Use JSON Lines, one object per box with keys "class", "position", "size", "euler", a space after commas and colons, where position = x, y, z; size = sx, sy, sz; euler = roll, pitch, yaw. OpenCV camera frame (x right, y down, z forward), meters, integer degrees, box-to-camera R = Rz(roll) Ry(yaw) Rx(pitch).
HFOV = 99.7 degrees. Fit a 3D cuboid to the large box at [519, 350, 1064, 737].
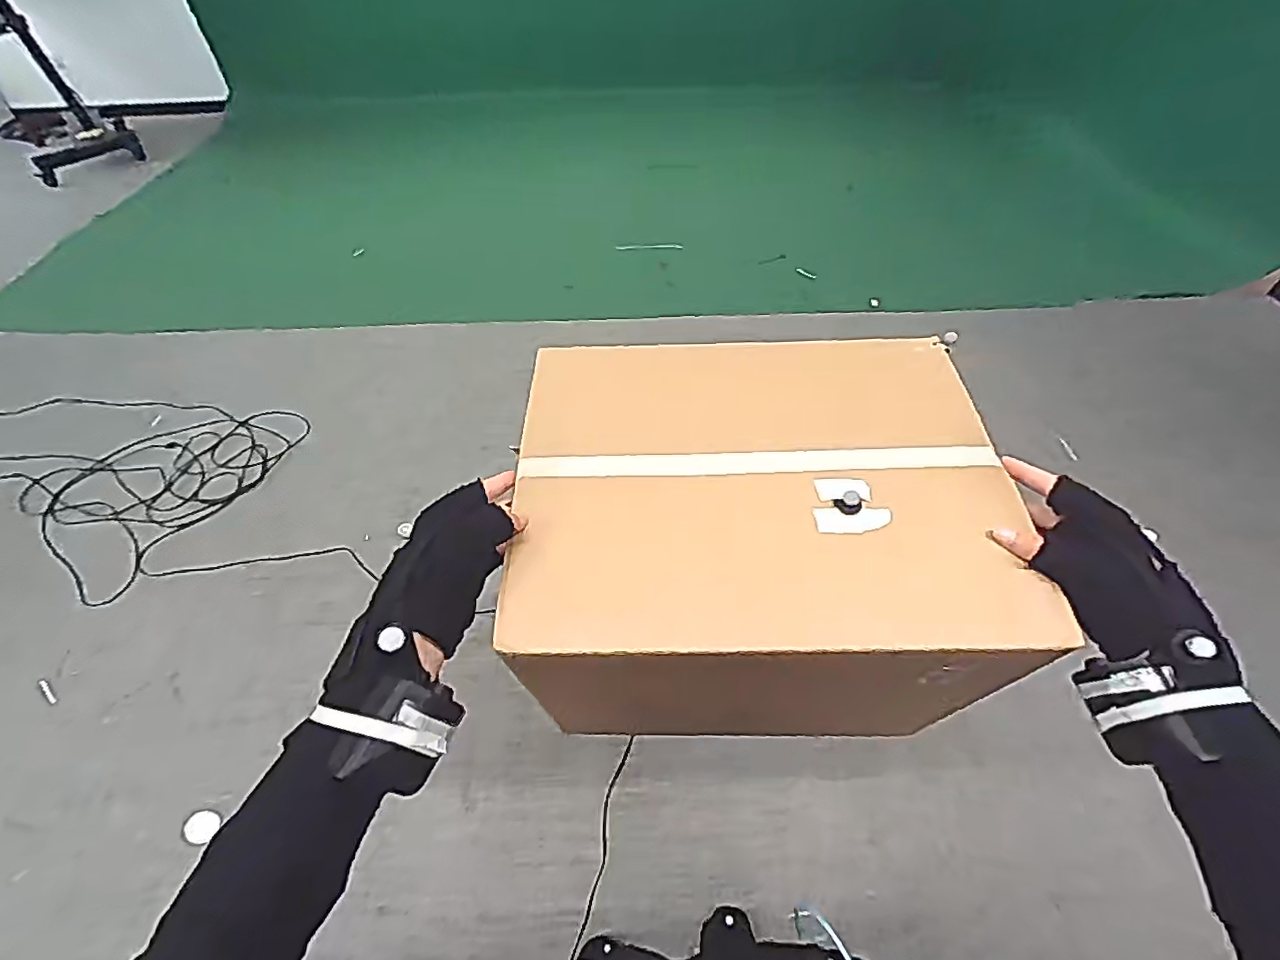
{"class": "large box", "position": [0.107, 0.081, 0.594], "size": [0.408, 0.320, 0.320], "euler": [-1, 55, 1]}
